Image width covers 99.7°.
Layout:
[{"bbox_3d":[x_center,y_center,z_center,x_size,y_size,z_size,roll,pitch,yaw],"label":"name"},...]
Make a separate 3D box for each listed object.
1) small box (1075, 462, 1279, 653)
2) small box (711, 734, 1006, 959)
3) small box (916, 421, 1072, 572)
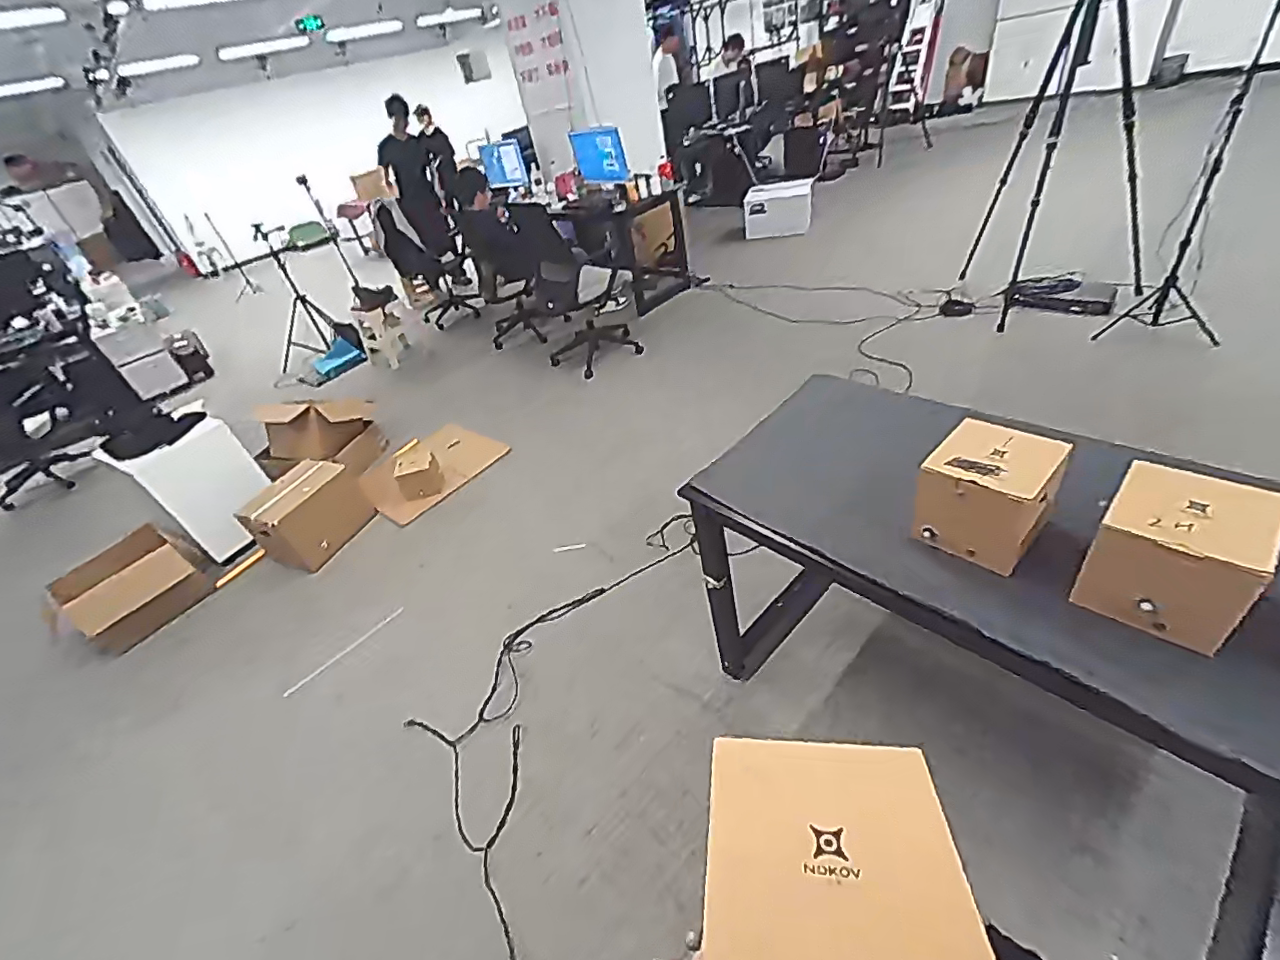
[{"bbox_3d":[0.766,0.107,0.777,0.179,0.176,0.168,-37,42,-28],"label":"small box"},{"bbox_3d":[0.140,0.321,0.395,0.168,0.176,0.179,-2,23,11],"label":"small box"},{"bbox_3d":[0.601,0.028,0.936,0.179,0.176,0.168,-35,42,-27],"label":"small box"}]
